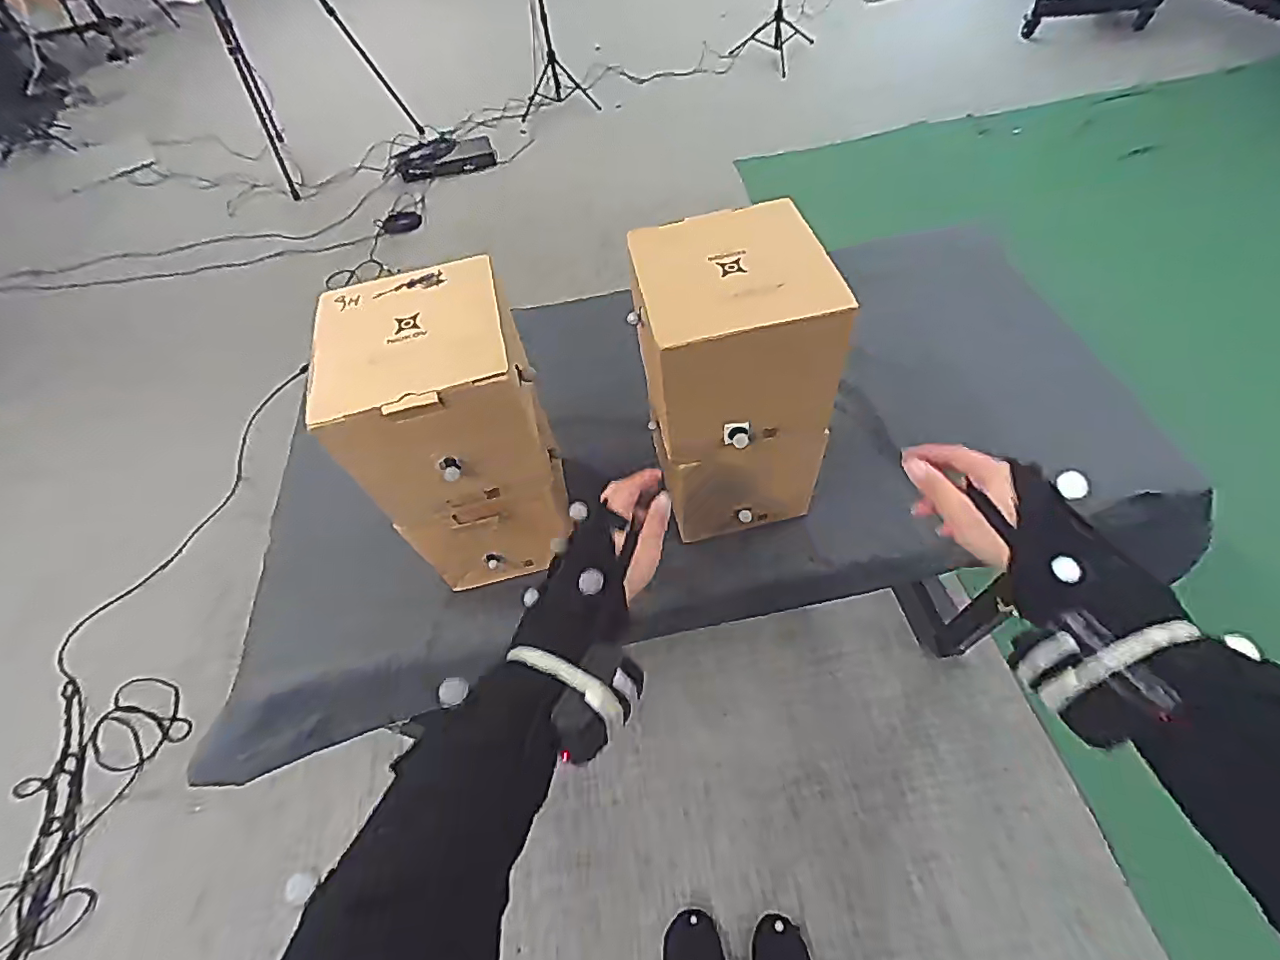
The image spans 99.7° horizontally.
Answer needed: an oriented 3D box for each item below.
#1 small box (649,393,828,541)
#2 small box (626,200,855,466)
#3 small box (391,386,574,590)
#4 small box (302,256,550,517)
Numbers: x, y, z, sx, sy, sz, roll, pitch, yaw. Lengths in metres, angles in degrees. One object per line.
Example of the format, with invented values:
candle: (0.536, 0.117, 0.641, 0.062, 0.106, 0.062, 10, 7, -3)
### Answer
small box: (0.107, -0.050, 0.670, 0.168, 0.176, 0.179, -13, 55, -2)
small box: (0.086, -0.141, 0.537, 0.168, 0.176, 0.179, -12, 55, 0)
small box: (-0.186, 0.010, 0.668, 0.168, 0.176, 0.179, -14, 56, -3)
small box: (-0.196, -0.081, 0.532, 0.168, 0.176, 0.179, -15, 57, -4)
